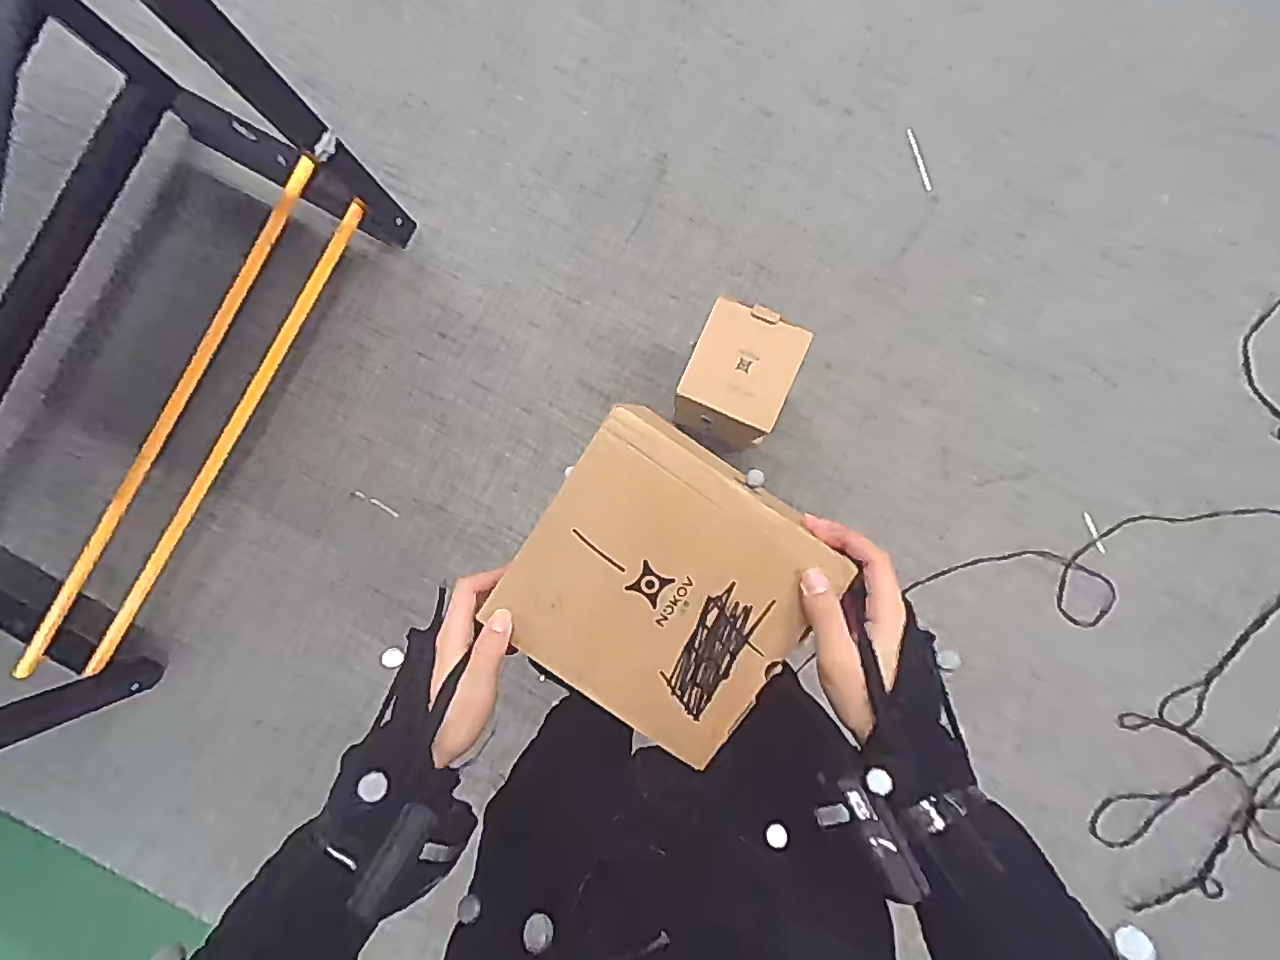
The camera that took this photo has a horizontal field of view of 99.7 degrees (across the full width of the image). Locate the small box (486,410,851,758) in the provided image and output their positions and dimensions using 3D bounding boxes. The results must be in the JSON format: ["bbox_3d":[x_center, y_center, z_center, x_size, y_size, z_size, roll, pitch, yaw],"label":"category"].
[{"bbox_3d":[0.022,0.059,0.418,0.179,0.176,0.168,35,98,1],"label":"small box"}]

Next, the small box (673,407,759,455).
[{"bbox_3d":[0.175,-0.157,1.104,0.179,0.176,0.168,24,89,2],"label":"small box"}]

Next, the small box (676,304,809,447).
[{"bbox_3d":[0.165,-0.171,0.941,0.168,0.176,0.179,23,90,3],"label":"small box"}]
